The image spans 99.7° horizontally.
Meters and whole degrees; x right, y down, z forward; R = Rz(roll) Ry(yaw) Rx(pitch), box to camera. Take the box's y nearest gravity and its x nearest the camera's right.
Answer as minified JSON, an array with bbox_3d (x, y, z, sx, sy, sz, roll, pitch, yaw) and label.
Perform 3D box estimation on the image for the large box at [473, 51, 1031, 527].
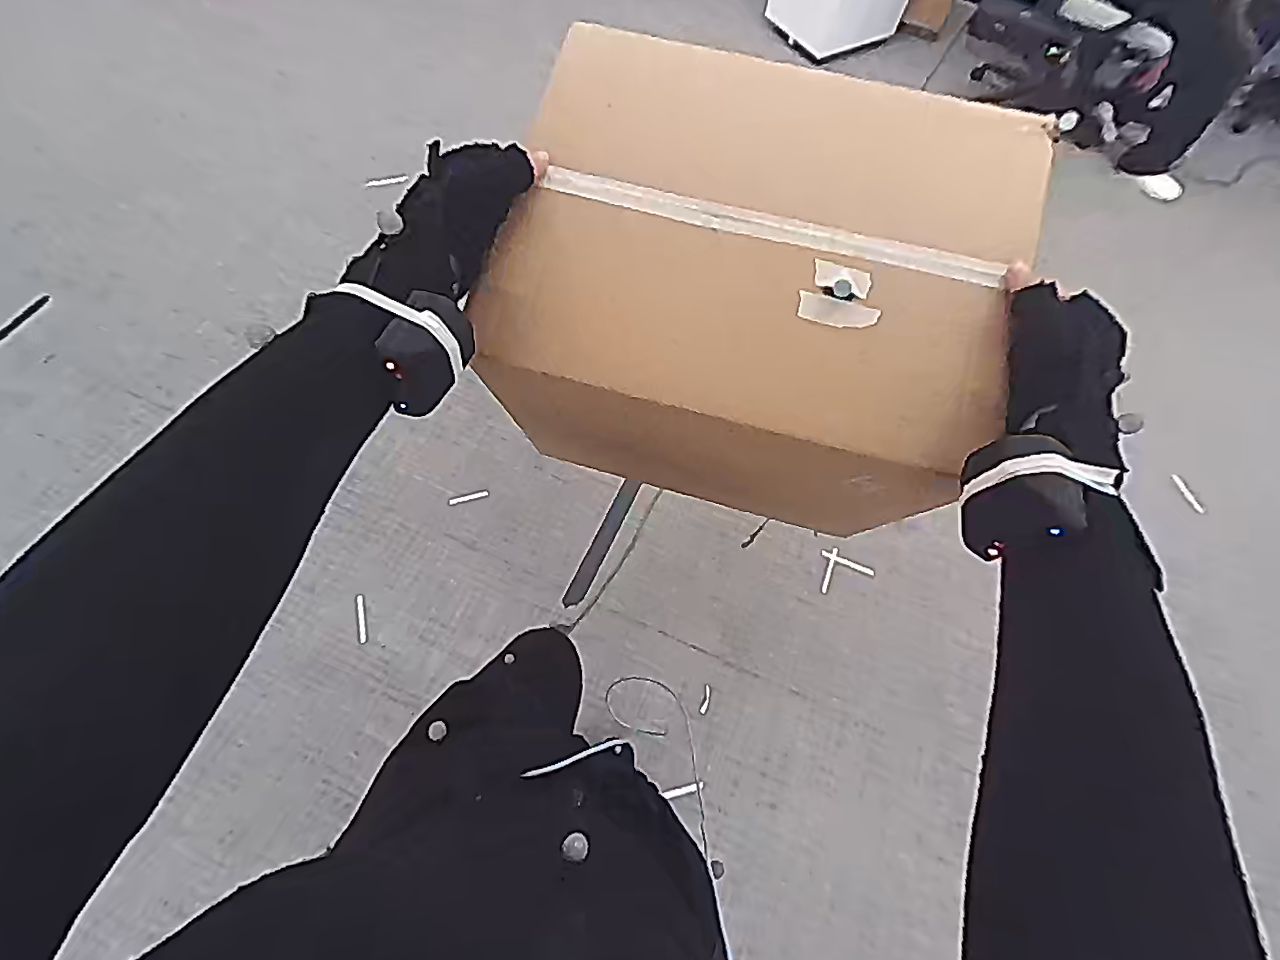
[{"bbox_3d":[0.099,-0.161,0.580,0.408,0.320,0.320,15,80,5],"label":"large box"}]
